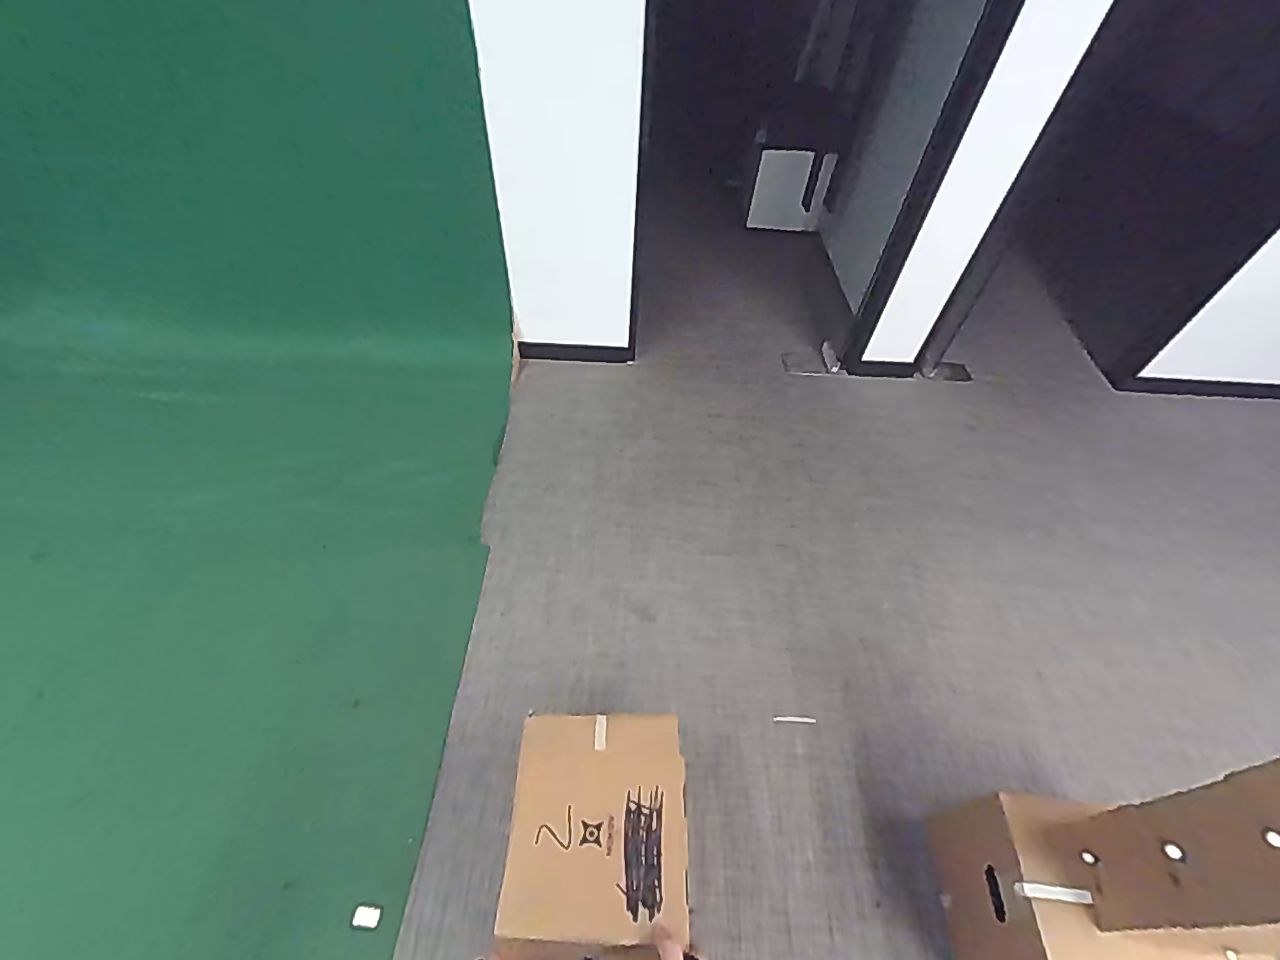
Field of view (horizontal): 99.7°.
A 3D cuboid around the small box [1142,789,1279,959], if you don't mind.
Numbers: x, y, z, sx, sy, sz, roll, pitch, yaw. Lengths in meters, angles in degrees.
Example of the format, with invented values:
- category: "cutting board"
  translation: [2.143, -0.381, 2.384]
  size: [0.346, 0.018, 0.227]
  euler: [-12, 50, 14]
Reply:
- category: "small box"
  translation: [0.888, 0.563, 0.764]
  size: [0.179, 0.176, 0.168]
  euler: [10, 47, 5]

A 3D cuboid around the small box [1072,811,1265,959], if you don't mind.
- category: "small box"
  translation: [0.876, 0.670, 0.888]
  size: [0.179, 0.176, 0.168]
  euler: [9, 48, 4]

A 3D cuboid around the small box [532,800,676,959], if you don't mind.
- category: "small box"
  translation: [-0.042, 0.542, 0.712]
  size: [0.168, 0.176, 0.179]
  euler: [4, 48, -2]

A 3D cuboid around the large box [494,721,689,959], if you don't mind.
- category: "large box"
  translation: [-0.086, 0.740, 1.078]
  size: [0.320, 0.320, 0.408]
  euler: [2, 49, -3]

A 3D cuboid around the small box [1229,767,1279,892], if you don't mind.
- category: "small box"
  translation: [0.896, 0.451, 0.644]
  size: [0.168, 0.176, 0.179]
  euler: [10, 48, 4]
